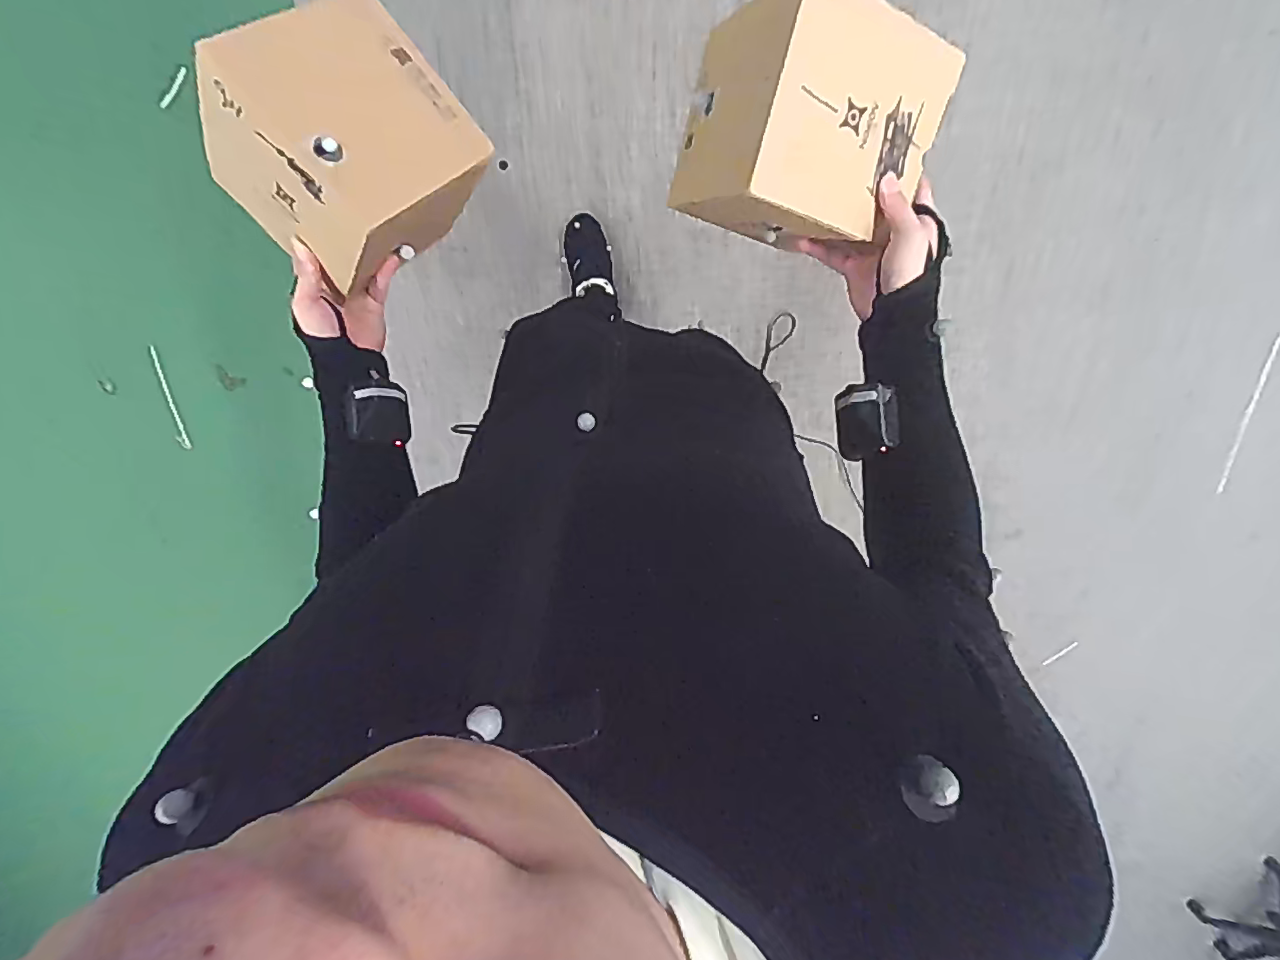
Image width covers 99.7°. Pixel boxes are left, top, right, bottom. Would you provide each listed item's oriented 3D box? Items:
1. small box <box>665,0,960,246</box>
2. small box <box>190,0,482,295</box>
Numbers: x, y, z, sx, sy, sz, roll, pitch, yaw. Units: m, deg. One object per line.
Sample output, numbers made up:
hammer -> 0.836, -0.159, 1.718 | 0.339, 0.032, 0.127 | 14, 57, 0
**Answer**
small box -> 0.150, -0.336, 0.519 | 0.179, 0.176, 0.168 | 8, 107, -24
small box -> -0.287, -0.323, 0.533 | 0.168, 0.176, 0.179 | 49, 149, -20
